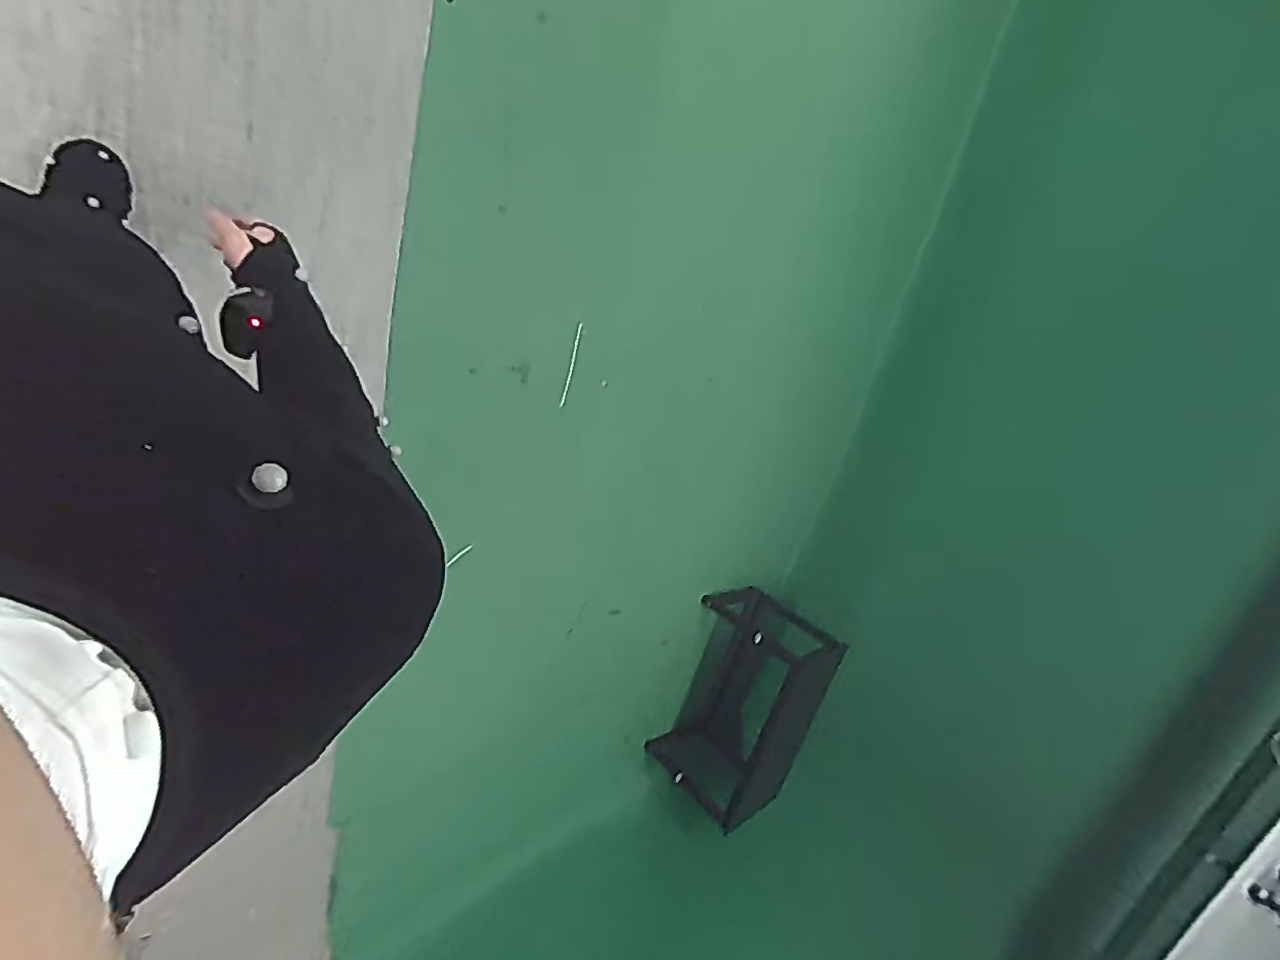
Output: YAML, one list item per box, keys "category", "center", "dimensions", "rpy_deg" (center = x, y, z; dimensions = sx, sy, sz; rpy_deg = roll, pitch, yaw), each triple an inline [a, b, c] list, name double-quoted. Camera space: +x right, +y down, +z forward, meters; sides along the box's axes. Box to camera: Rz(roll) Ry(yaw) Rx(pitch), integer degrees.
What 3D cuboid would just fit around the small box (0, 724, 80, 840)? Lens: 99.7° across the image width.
- category: "small box"
  center: [-1.506, 0.739, 1.325]
  dimensions: [0.179, 0.176, 0.168]
  rpy_deg: [2, 113, -47]
